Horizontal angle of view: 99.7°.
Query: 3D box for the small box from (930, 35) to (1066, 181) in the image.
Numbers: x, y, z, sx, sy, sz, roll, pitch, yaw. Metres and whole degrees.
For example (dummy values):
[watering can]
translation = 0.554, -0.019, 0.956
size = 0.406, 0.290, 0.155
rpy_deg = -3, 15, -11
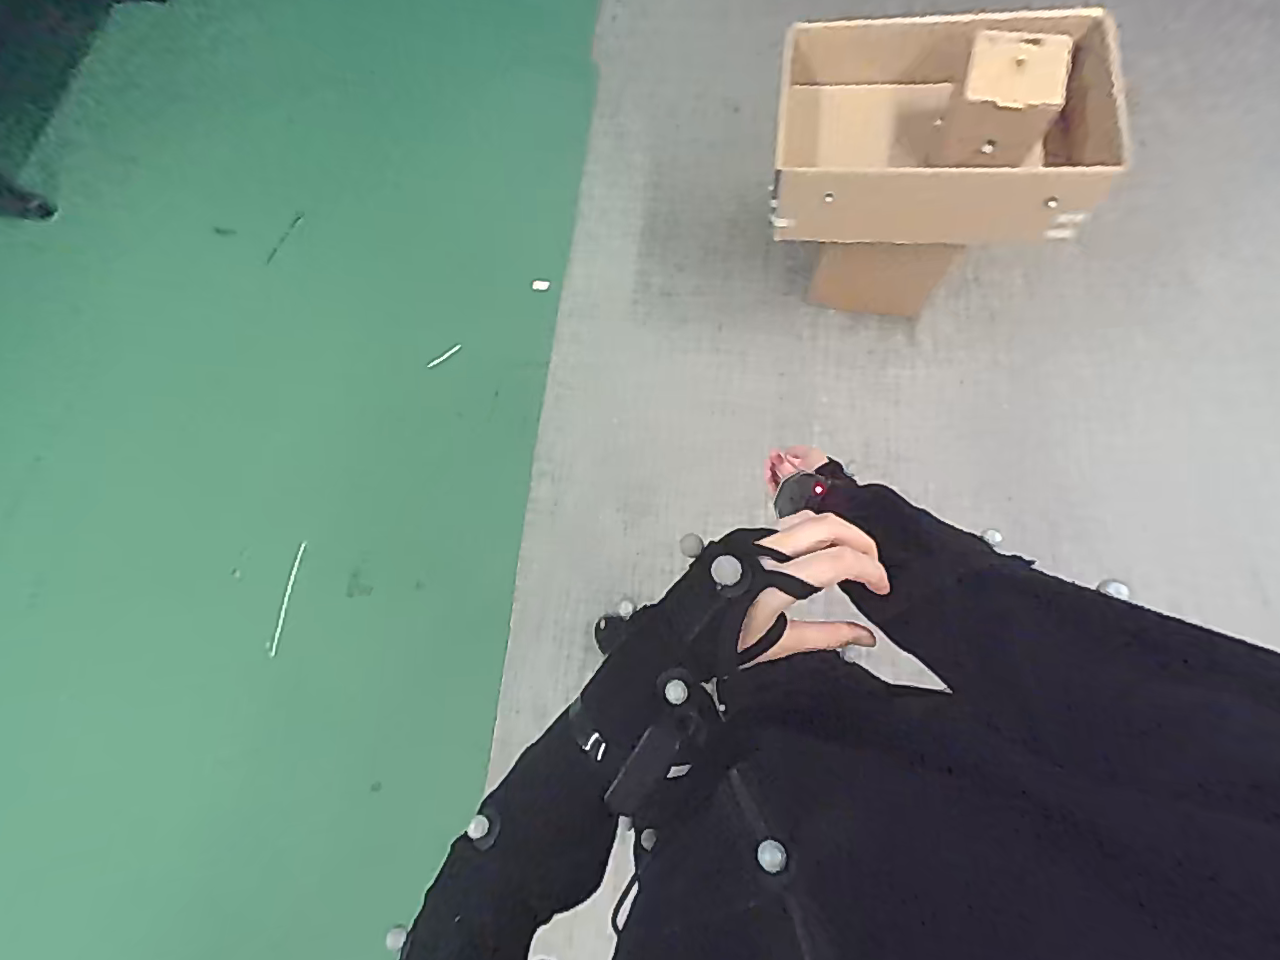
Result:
[small box]
translation = 0.709, -0.740, 1.089
size = 0.168, 0.176, 0.179
rpy_deg = 15, 77, 12
